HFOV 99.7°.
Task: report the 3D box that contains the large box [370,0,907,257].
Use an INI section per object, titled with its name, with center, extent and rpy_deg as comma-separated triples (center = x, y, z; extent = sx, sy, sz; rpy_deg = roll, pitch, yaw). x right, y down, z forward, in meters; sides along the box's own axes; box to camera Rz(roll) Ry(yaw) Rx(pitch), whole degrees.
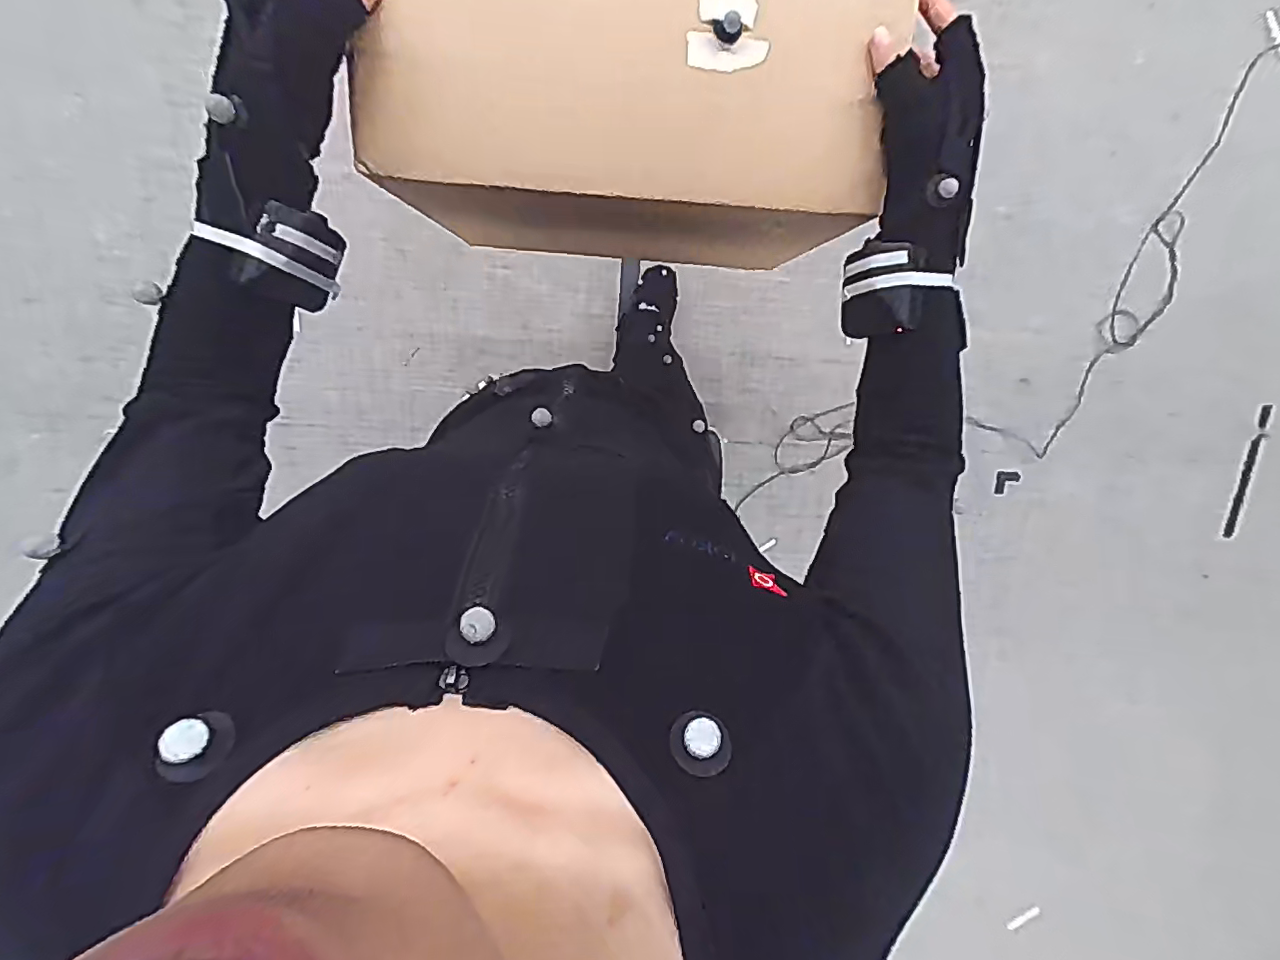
[large box]
center = -0.005, -0.416, 0.536
extent = 0.408, 0.320, 0.320
rpy_deg = 2, 105, -4
